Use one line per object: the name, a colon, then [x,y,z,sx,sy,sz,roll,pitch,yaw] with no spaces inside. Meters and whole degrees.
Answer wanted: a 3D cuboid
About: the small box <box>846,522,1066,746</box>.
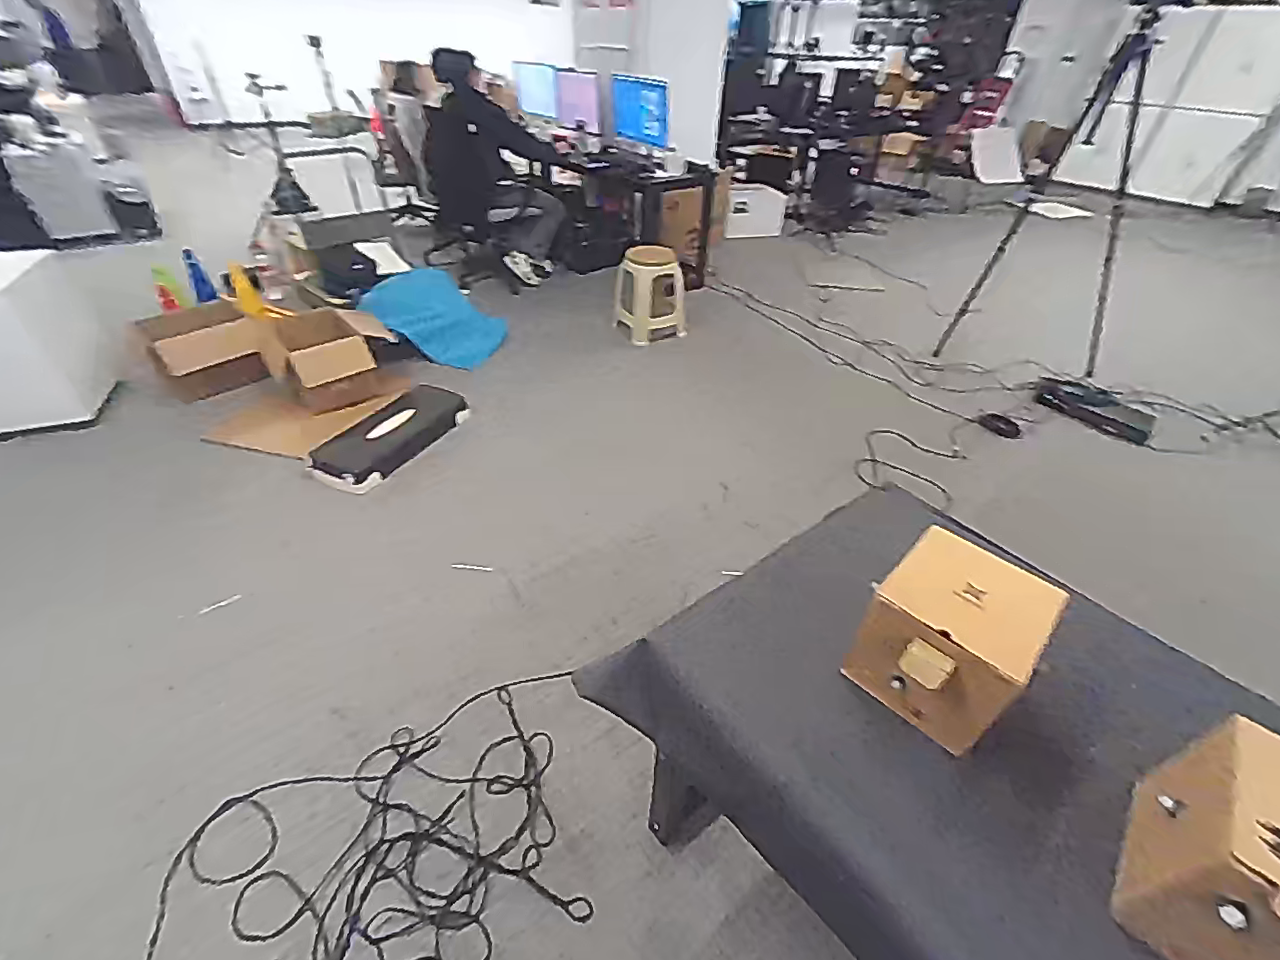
small box: [0.391,0.193,0.693,0.168,0.176,0.179,34,49,32]
